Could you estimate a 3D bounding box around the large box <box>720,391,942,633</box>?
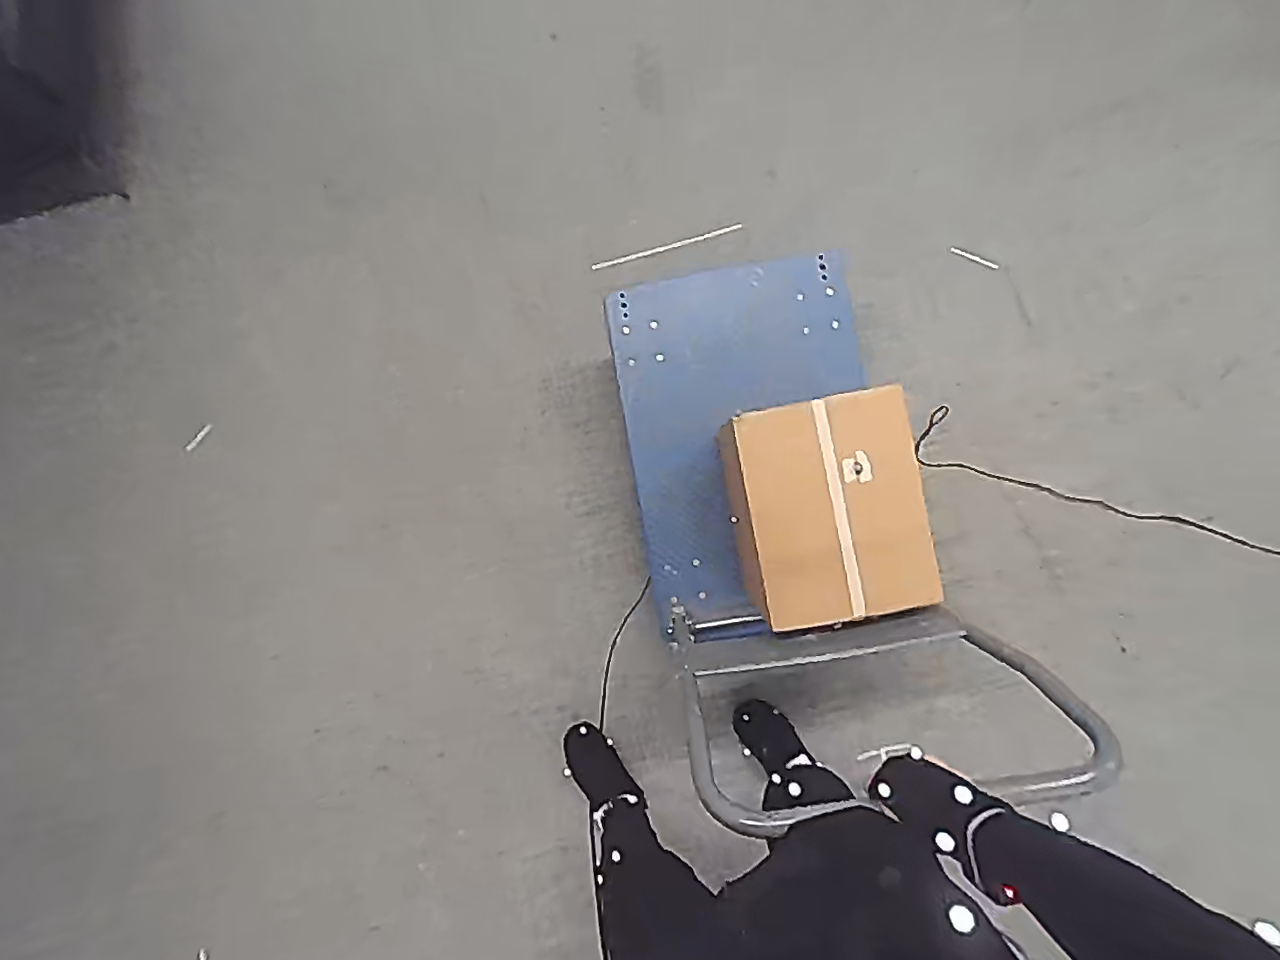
[{"bbox_3d":[0.368,0.063,1.140,0.320,0.320,0.408,-12,88,2],"label":"large box"}]
